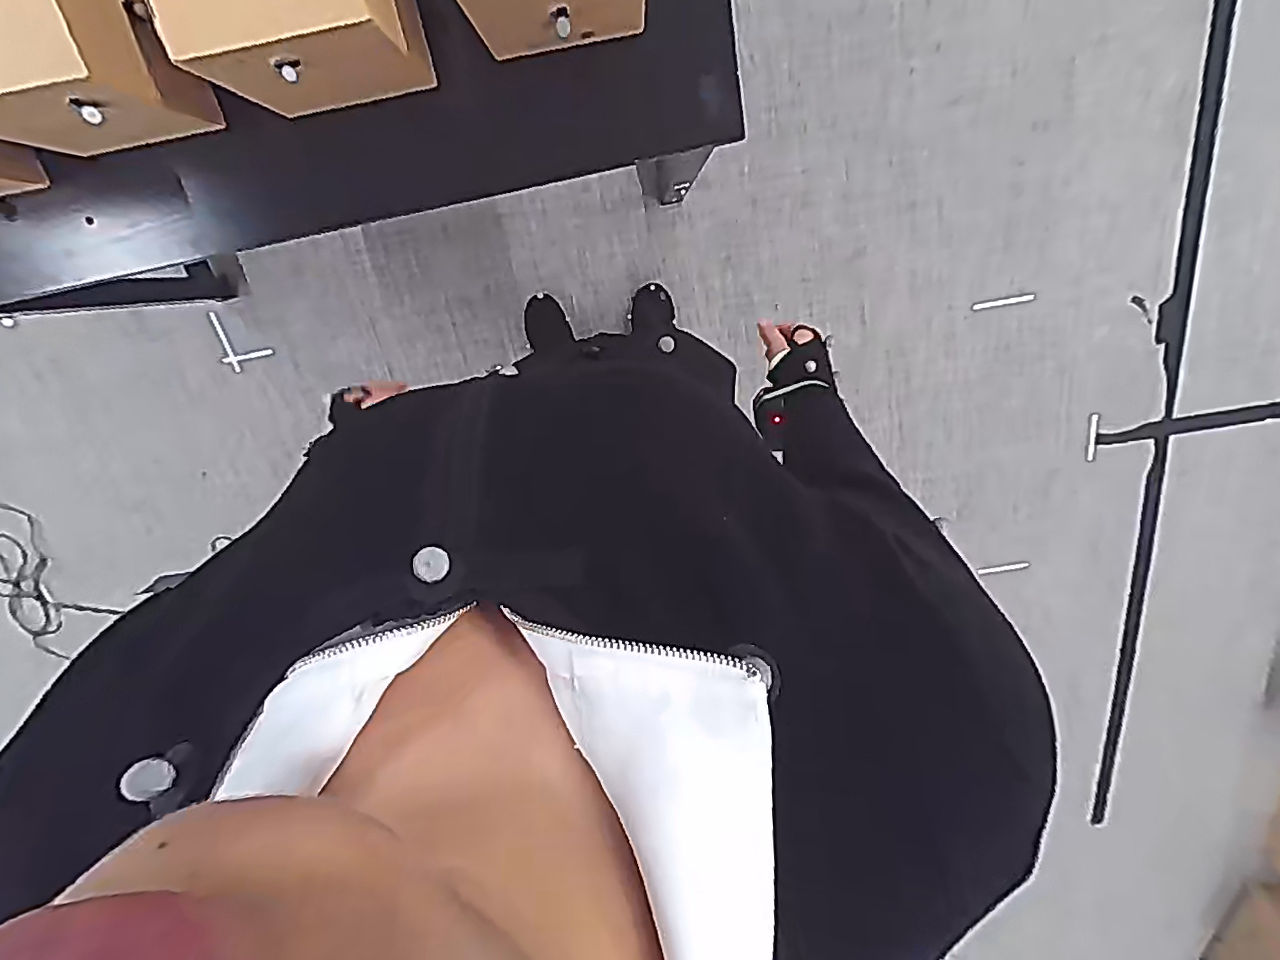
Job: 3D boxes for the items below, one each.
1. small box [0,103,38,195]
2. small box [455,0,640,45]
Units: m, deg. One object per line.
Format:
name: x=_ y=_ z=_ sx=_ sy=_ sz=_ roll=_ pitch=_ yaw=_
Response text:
small box: x=-0.771 y=-0.374 z=0.514 sx=0.168 sy=0.176 sz=0.179 roll=-10 pitch=111 yaw=4
small box: x=-0.090 y=-0.513 z=0.468 sx=0.168 sy=0.176 sz=0.179 roll=-9 pitch=111 yaw=2
